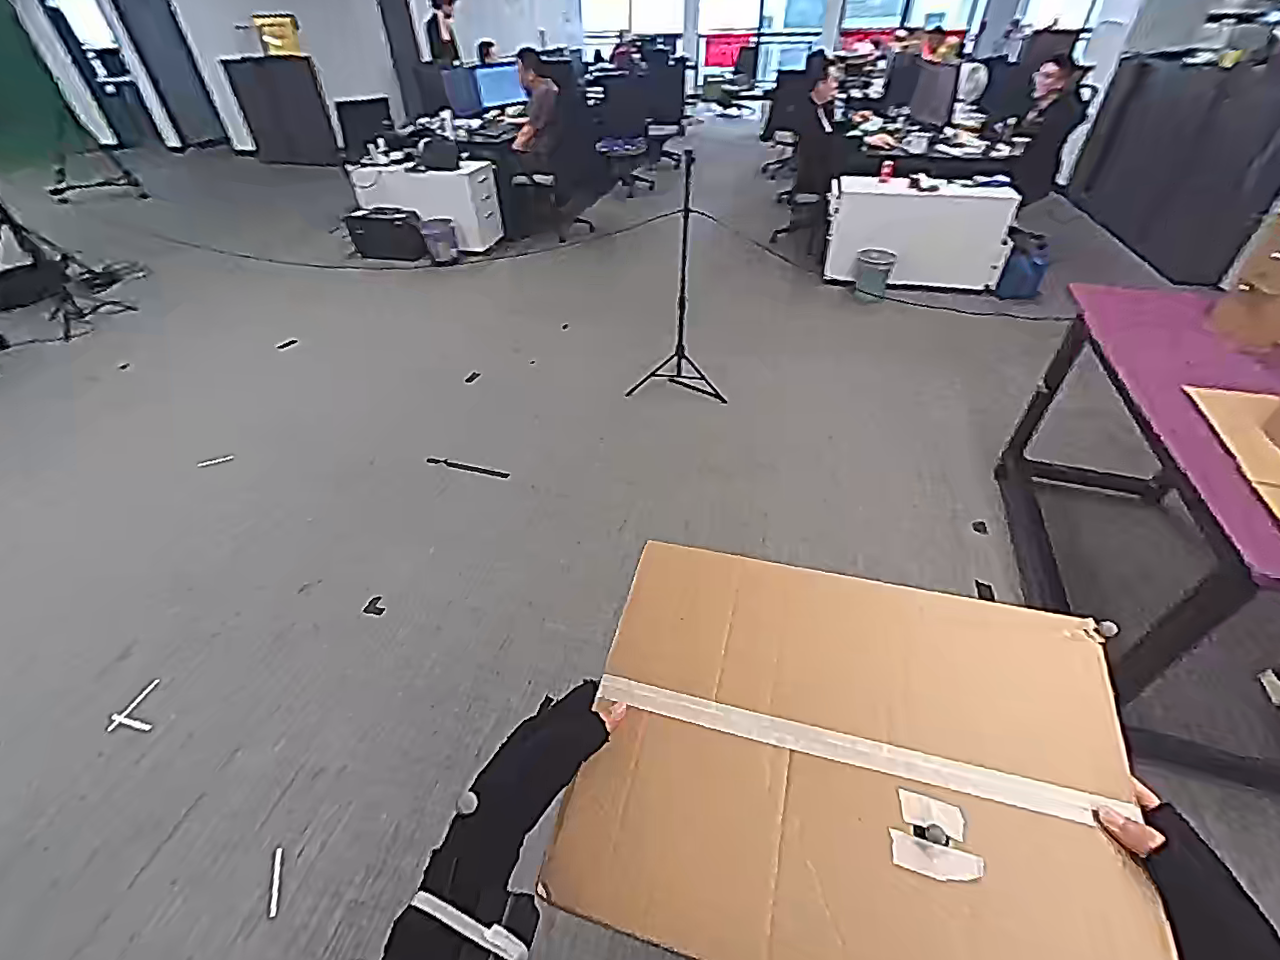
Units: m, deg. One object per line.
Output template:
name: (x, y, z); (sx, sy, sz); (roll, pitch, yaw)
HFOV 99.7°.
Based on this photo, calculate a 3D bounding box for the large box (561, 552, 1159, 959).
large box: (0.182, 0.312, 0.560); (0.408, 0.320, 0.320); (9, 53, 15)
